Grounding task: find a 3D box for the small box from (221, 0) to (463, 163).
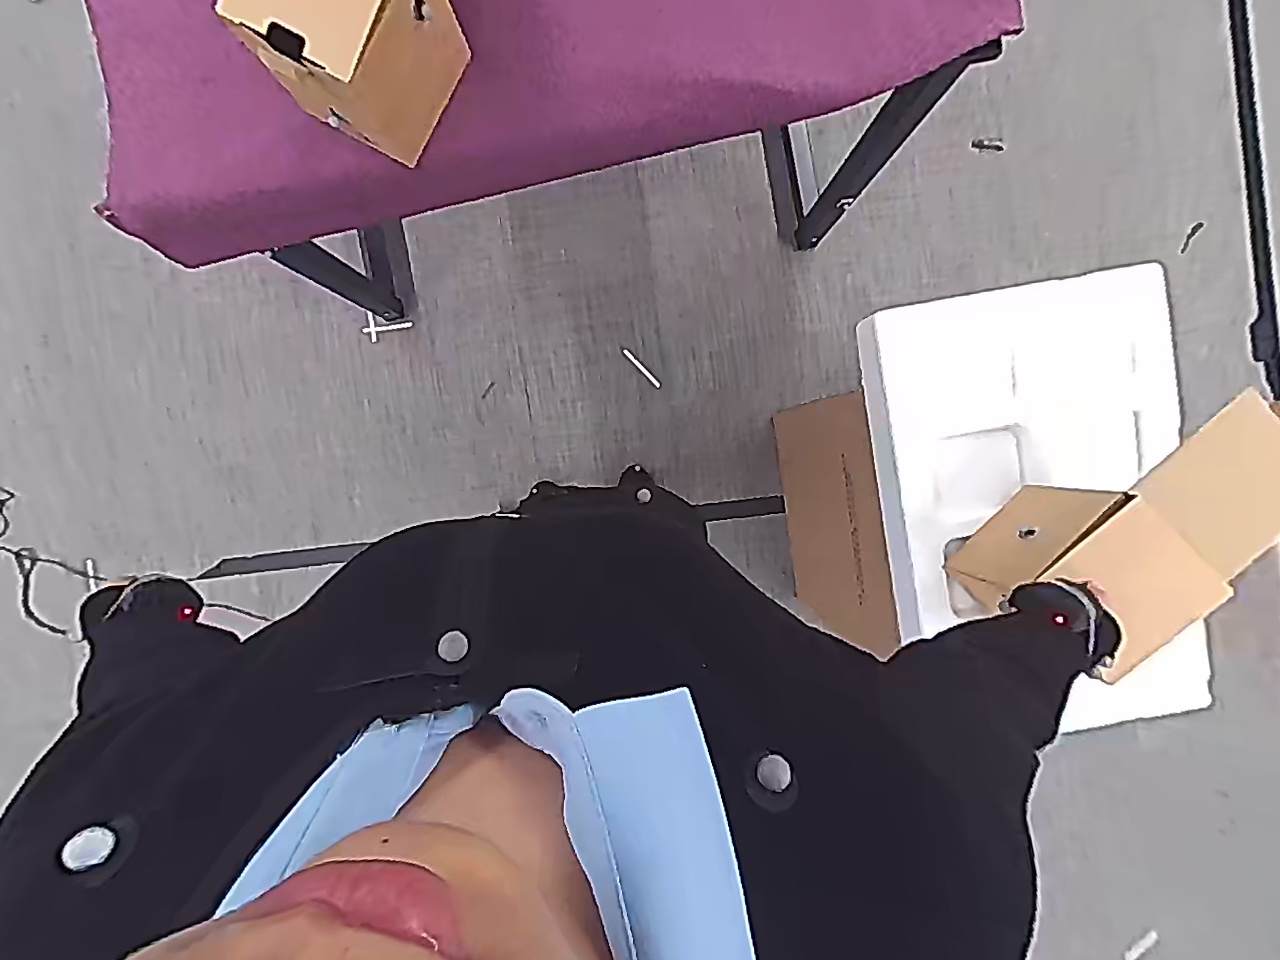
[{"bbox_3d":[-0.338,-0.541,0.658,0.168,0.176,0.179,29,91,0],"label":"small box"}]
